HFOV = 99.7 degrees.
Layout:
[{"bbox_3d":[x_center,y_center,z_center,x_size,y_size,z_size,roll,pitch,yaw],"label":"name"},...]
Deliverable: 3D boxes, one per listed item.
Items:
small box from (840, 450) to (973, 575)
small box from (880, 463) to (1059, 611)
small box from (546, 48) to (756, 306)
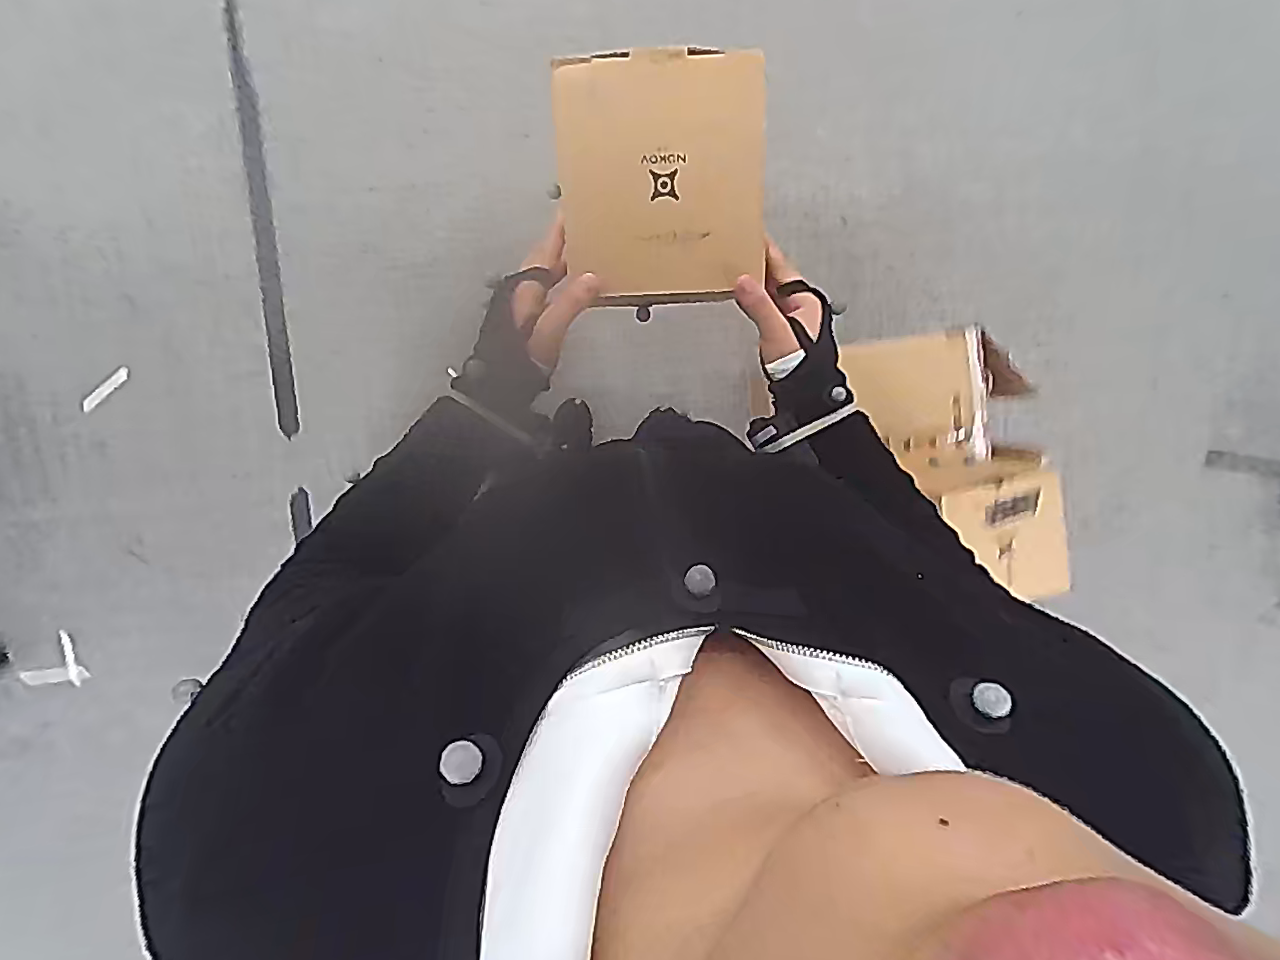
[{"bbox_3d":[0.485,0.052,0.986,0.168,0.176,0.179,-12,99,-1],"label":"small box"},{"bbox_3d":[0.487,0.073,0.821,0.168,0.176,0.179,-11,99,-1],"label":"small box"},{"bbox_3d":[0.007,-0.264,0.511,0.168,0.176,0.179,-5,106,-2],"label":"small box"}]
